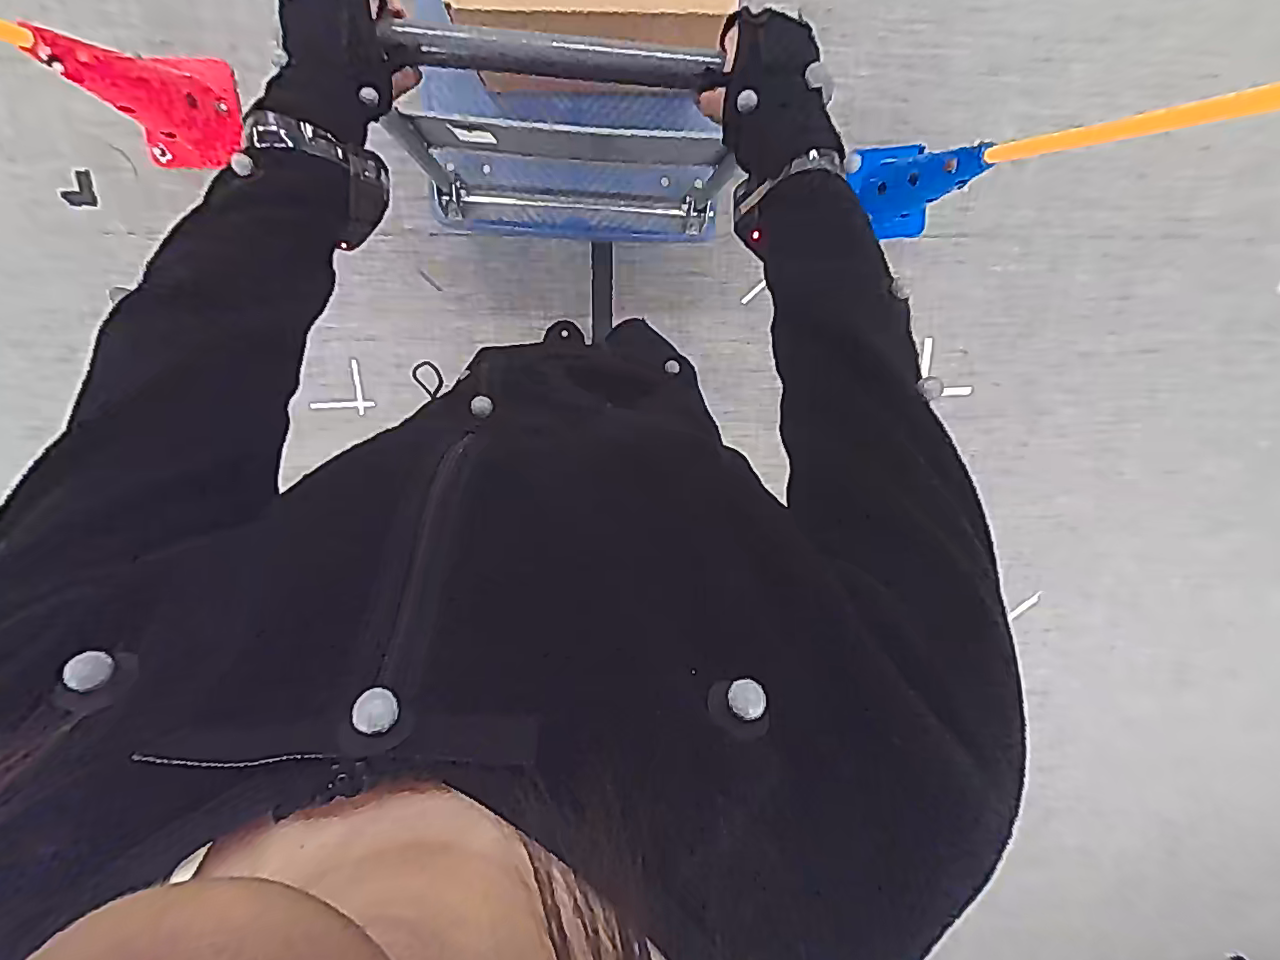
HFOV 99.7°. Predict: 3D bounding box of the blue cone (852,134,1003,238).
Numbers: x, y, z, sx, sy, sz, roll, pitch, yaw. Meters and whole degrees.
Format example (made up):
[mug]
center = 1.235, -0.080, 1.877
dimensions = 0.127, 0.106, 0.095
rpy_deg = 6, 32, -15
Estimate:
[blue cone]
center = 0.612, -0.638, 1.138
dimensions = 0.193, 0.380, 0.192
rpy_deg = -5, 107, -4
